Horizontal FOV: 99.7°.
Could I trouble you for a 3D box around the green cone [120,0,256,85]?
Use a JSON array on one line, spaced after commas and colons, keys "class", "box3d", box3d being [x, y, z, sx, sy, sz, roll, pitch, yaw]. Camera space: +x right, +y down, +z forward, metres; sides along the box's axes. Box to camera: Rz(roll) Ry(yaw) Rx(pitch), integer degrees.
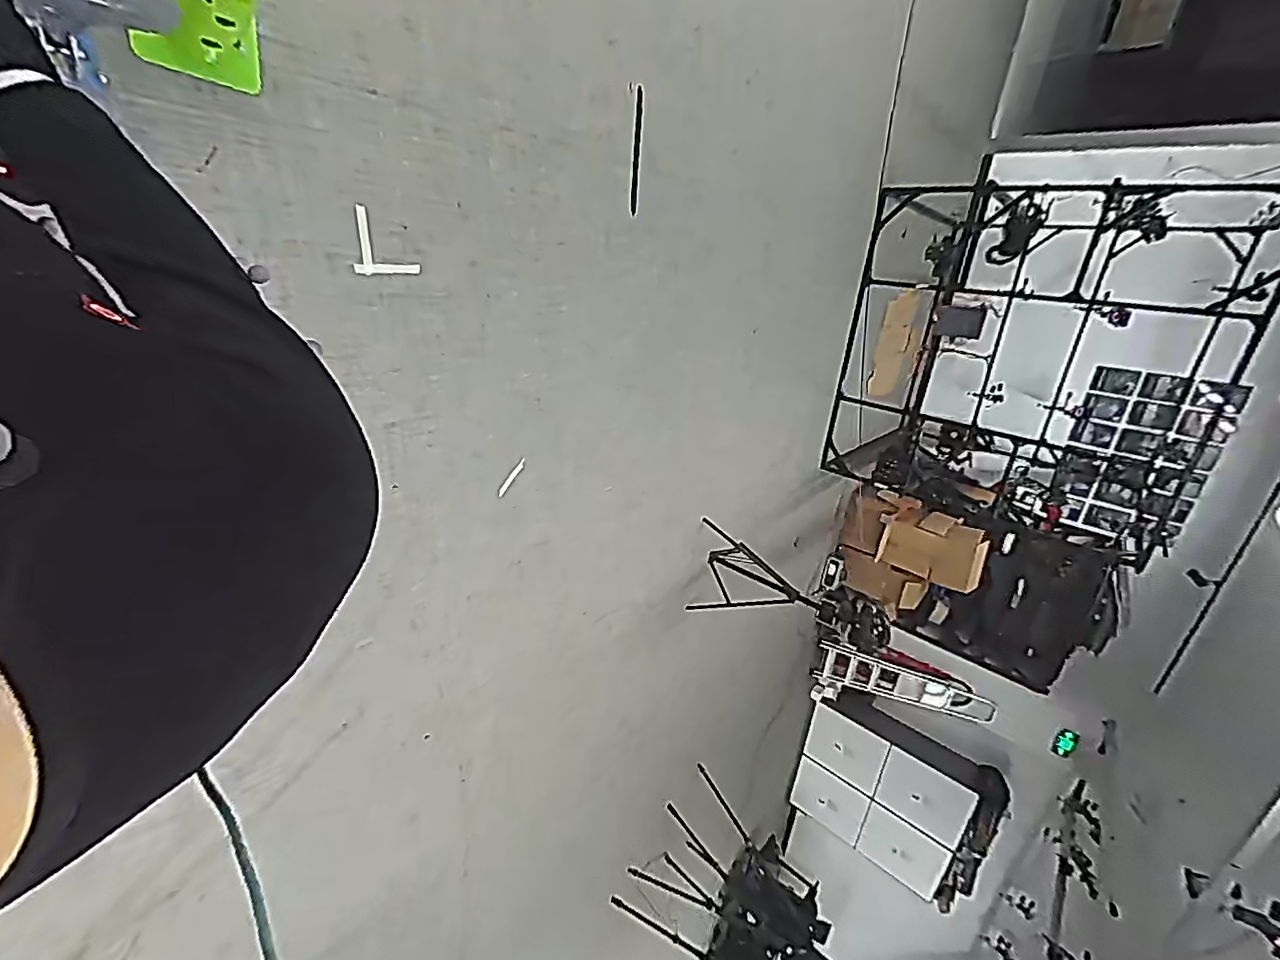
[{"class": "green cone", "box3d": [-0.706, -0.826, 0.905, 0.202, 0.368, 0.200, -16, 120, -49]}]
